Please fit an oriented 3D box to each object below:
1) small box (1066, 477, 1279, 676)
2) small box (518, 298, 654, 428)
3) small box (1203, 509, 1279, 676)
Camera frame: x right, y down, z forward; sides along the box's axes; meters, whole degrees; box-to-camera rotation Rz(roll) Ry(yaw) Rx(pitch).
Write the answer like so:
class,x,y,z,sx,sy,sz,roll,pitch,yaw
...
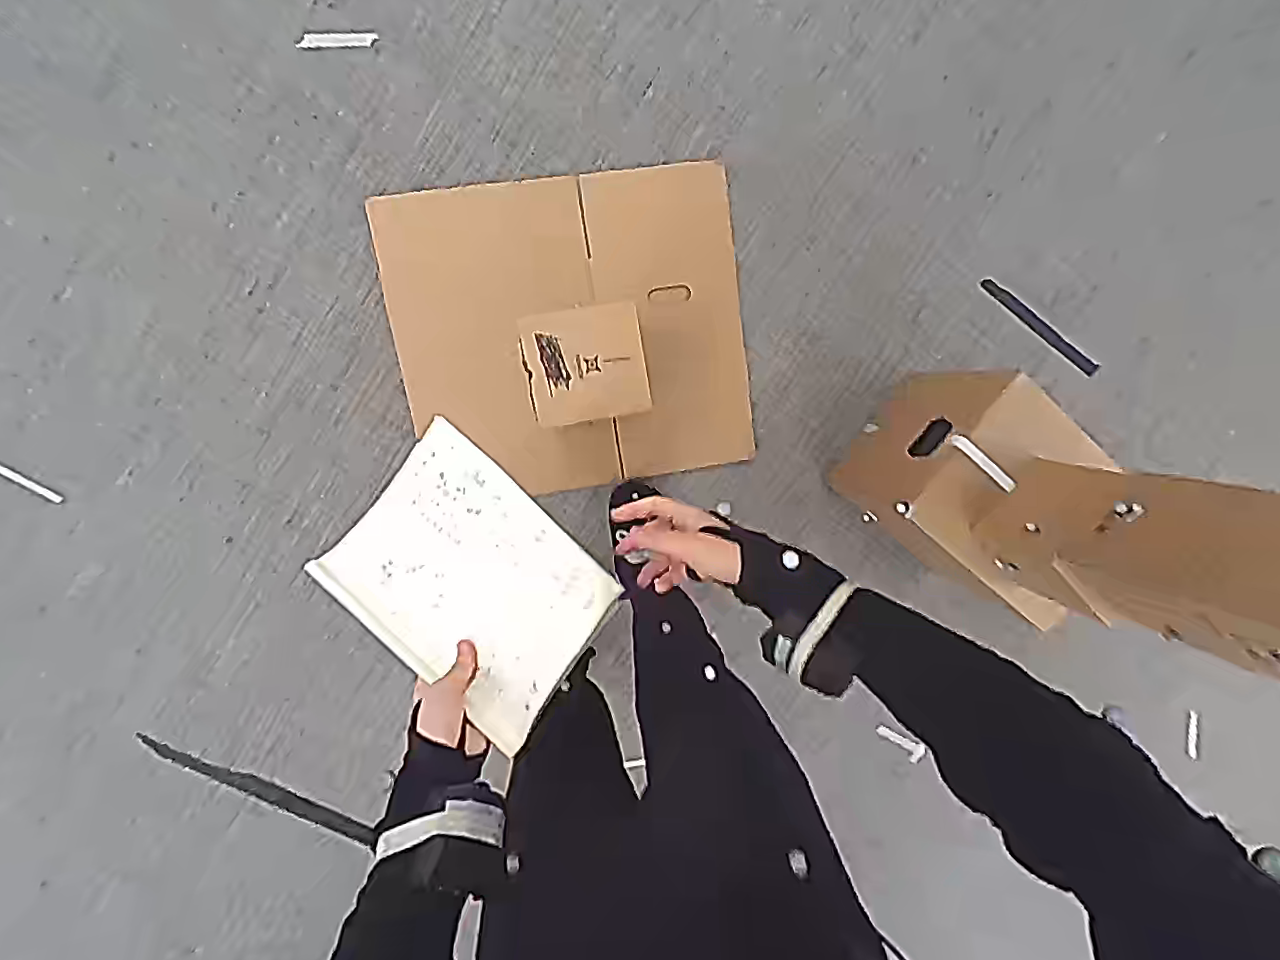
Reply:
class,x,y,z,sx,sy,sz,roll,pitch,yaw
small box,0.734,0.113,0.715,0.179,0.176,0.168,36,93,-11
small box,-0.086,-0.183,0.862,0.179,0.176,0.168,-11,103,-7
small box,0.760,0.131,0.552,0.168,0.176,0.179,38,93,-12
